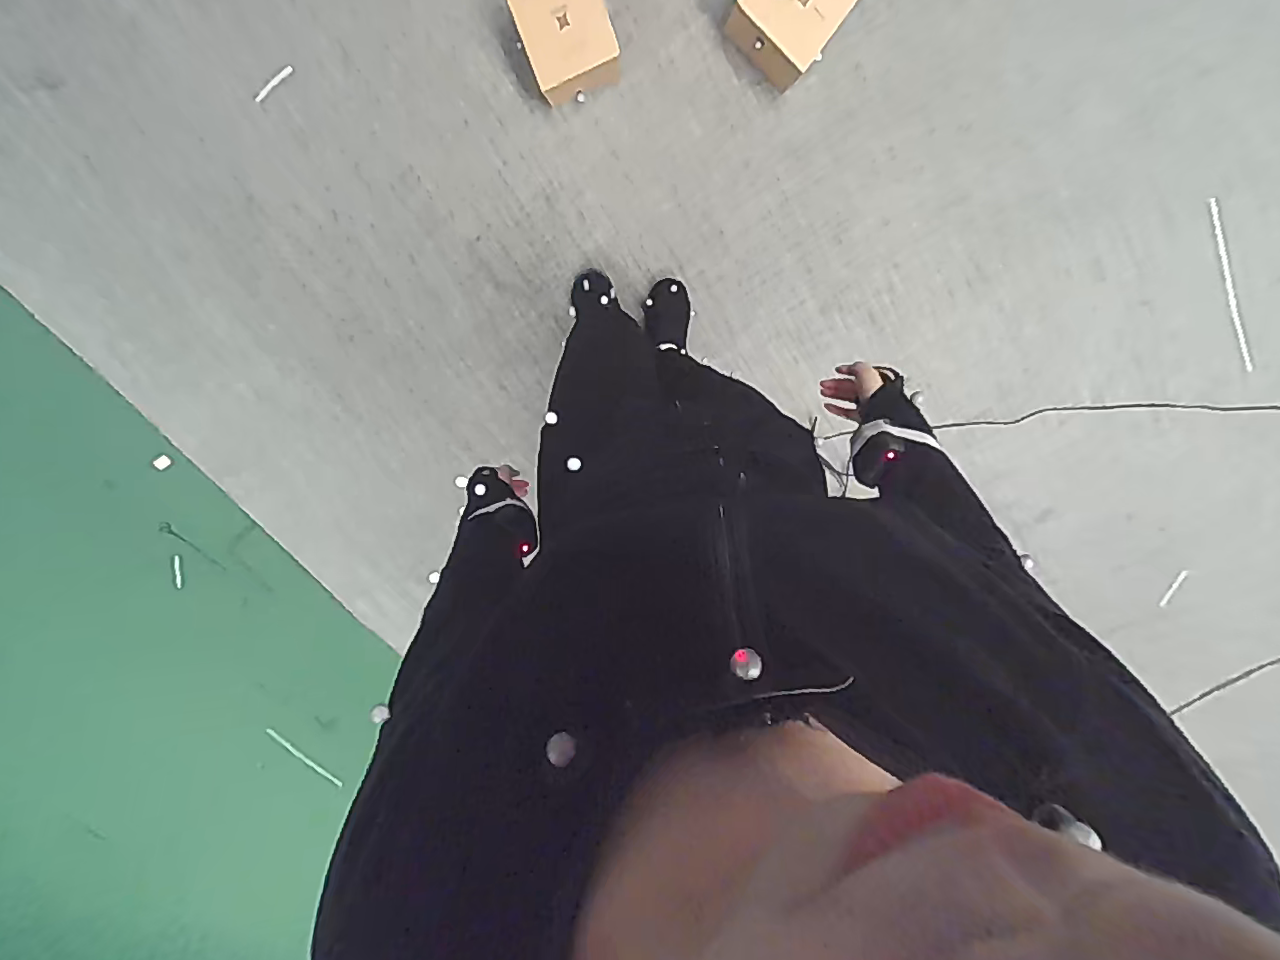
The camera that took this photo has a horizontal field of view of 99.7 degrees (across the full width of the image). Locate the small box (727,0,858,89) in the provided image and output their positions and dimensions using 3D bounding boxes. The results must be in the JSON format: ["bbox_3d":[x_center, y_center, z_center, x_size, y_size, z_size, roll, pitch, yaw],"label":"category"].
[{"bbox_3d":[0.290,-0.906,1.048,0.179,0.176,0.168,35,110,-15],"label":"small box"}]

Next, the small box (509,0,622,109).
[{"bbox_3d":[-0.142,-0.873,1.063,0.168,0.176,0.179,-19,112,9],"label":"small box"}]
